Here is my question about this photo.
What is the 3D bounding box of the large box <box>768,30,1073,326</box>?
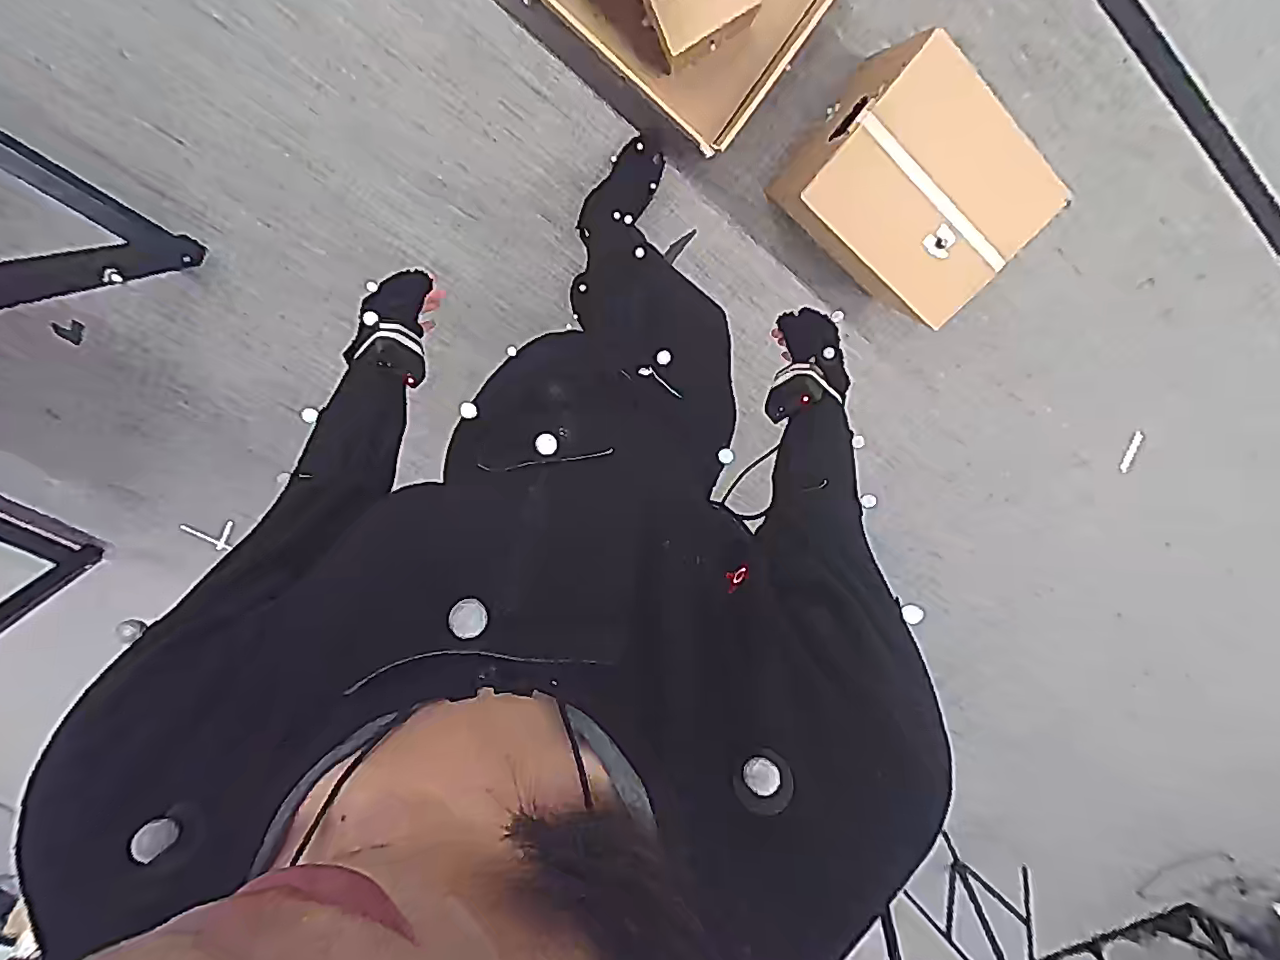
[{"bbox_3d":[0.536,-0.590,1.107,0.408,0.320,0.320,33,115,-19],"label":"large box"}]
